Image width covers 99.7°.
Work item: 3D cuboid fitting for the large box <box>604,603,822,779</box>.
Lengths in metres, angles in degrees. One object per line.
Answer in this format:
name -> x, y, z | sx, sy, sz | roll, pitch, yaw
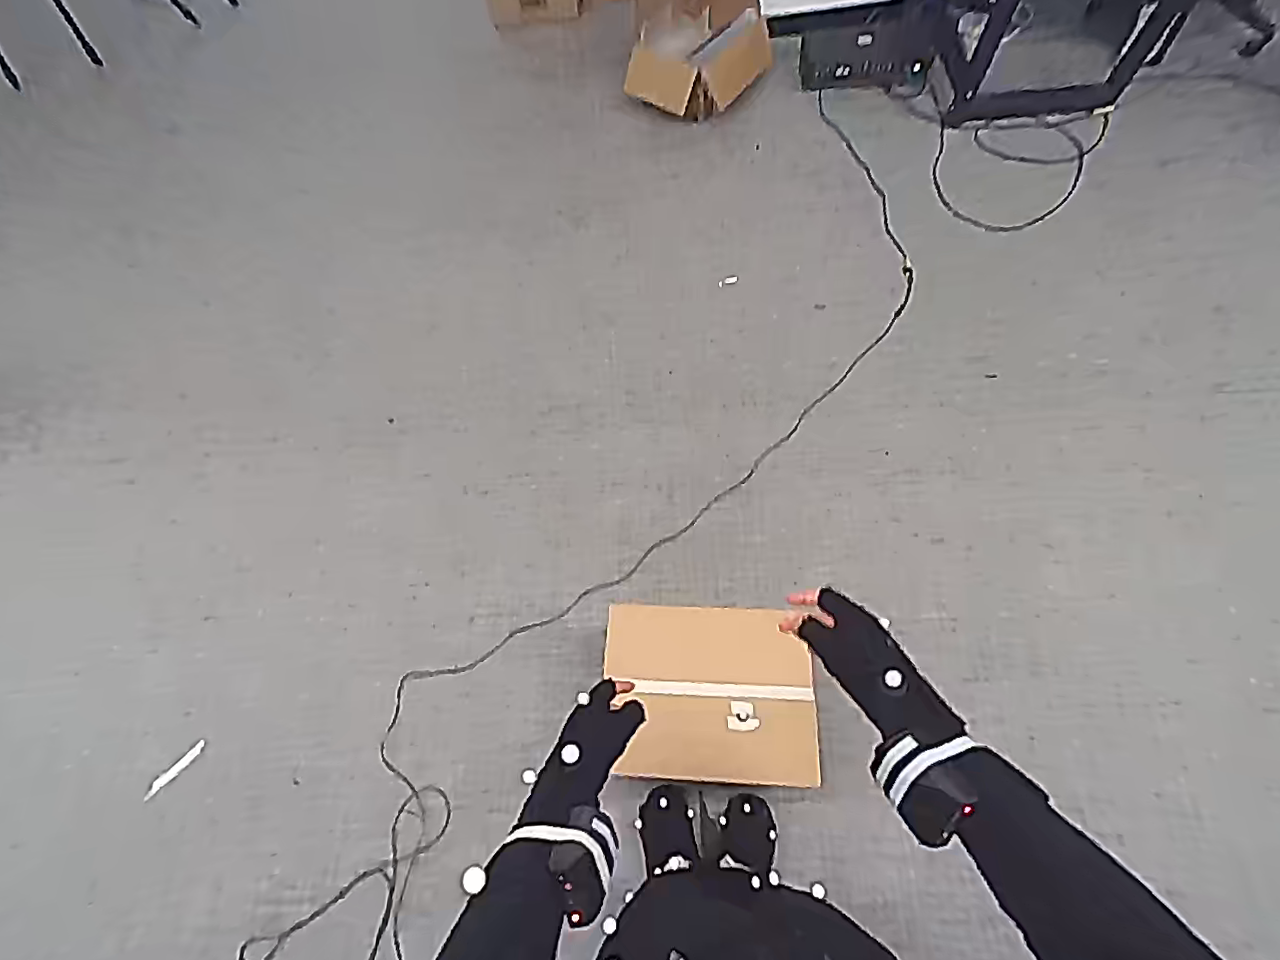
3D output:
large box -> 0.143, 0.458, 1.176 | 0.408, 0.320, 0.320 | 1, 66, 5
